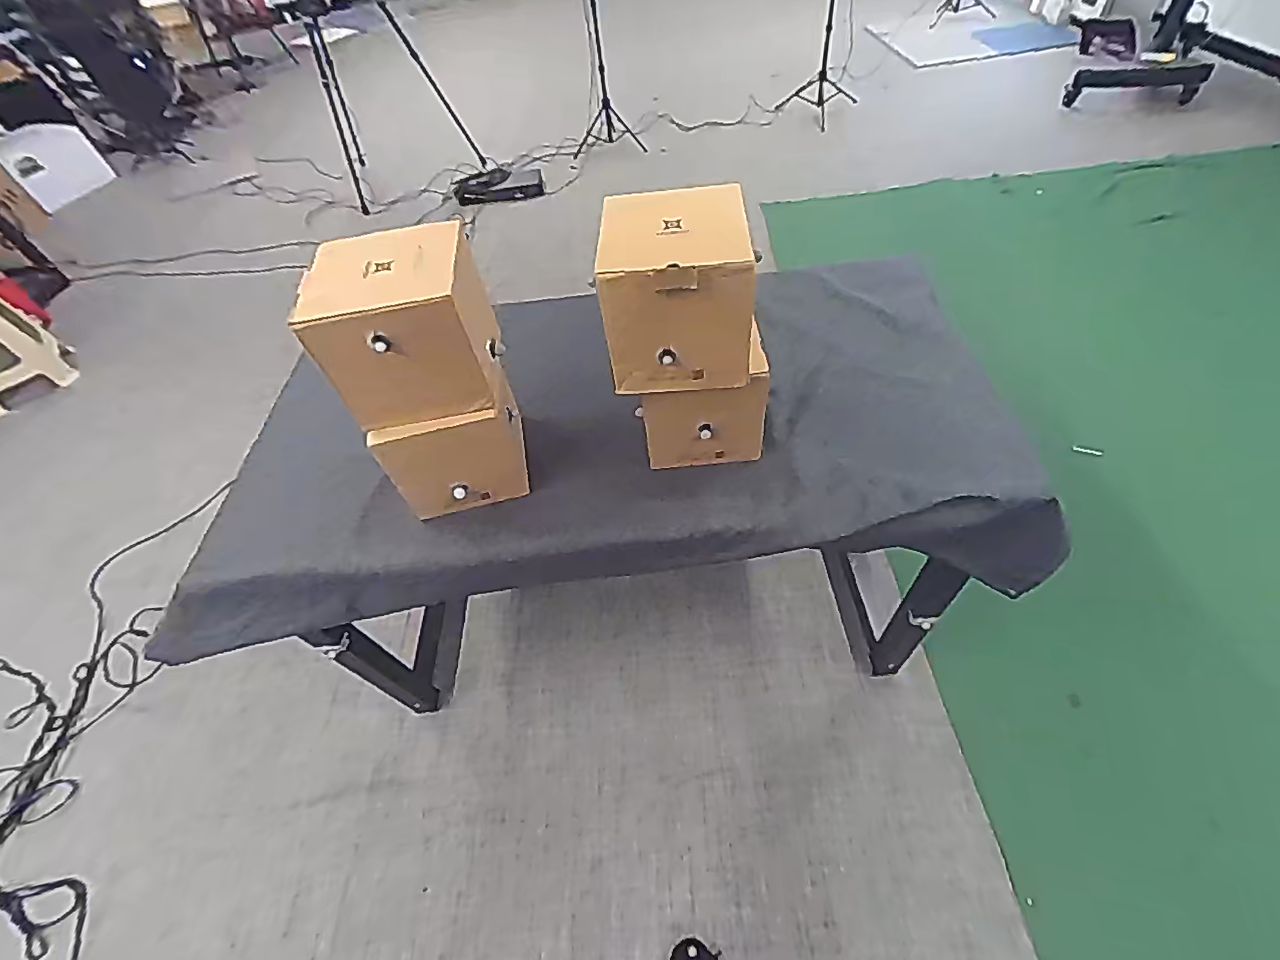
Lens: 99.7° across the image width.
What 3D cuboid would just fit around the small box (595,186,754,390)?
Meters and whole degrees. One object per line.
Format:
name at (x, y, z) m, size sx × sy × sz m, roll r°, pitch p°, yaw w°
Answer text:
small box at (0.043, -0.232, 0.664) m, size 0.168 × 0.176 × 0.179 m, roll -3°, pitch 52°, yaw 5°

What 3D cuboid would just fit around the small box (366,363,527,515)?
small box at (-0.271, -0.078, 0.788) m, size 0.168 × 0.176 × 0.179 m, roll -14°, pitch 52°, yaw -4°

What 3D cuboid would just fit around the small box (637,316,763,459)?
small box at (0.083, -0.144, 0.797) m, size 0.168 × 0.176 × 0.179 m, roll -6°, pitch 52°, yaw 3°

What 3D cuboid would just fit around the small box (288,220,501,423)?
small box at (-0.284, -0.190, 0.671) m, size 0.179 × 0.176 × 0.168 m, roll -10°, pitch 53°, yaw -2°
